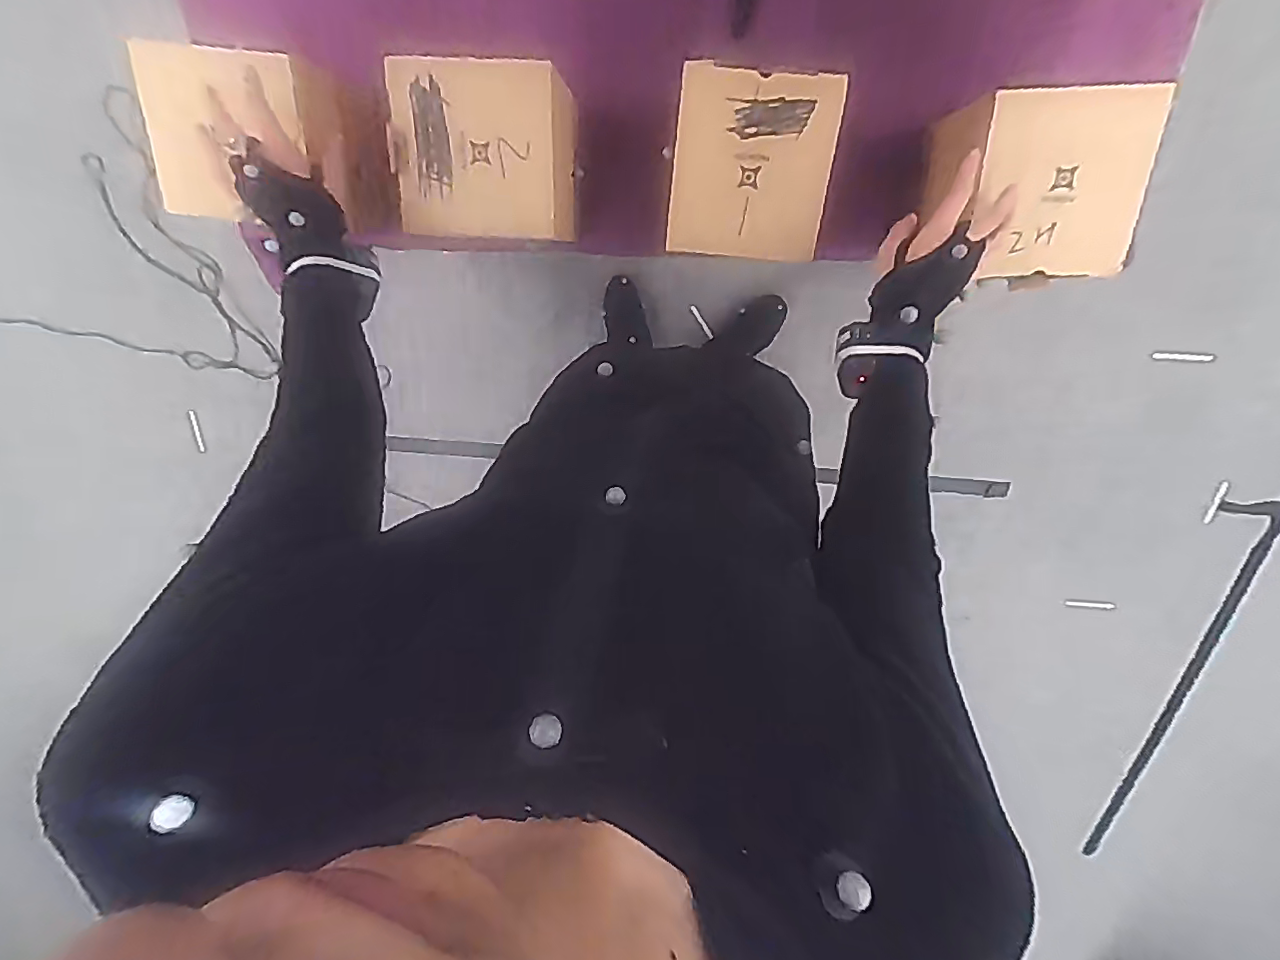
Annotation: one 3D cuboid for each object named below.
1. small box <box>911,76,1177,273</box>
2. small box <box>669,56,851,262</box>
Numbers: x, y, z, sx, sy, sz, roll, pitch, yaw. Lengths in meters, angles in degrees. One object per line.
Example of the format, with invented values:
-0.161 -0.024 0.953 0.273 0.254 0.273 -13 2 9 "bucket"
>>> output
0.436 -0.335 0.623 0.168 0.176 0.179 1 114 5 "small box"
0.124 -0.361 0.637 0.168 0.176 0.179 6 114 2 "small box"
